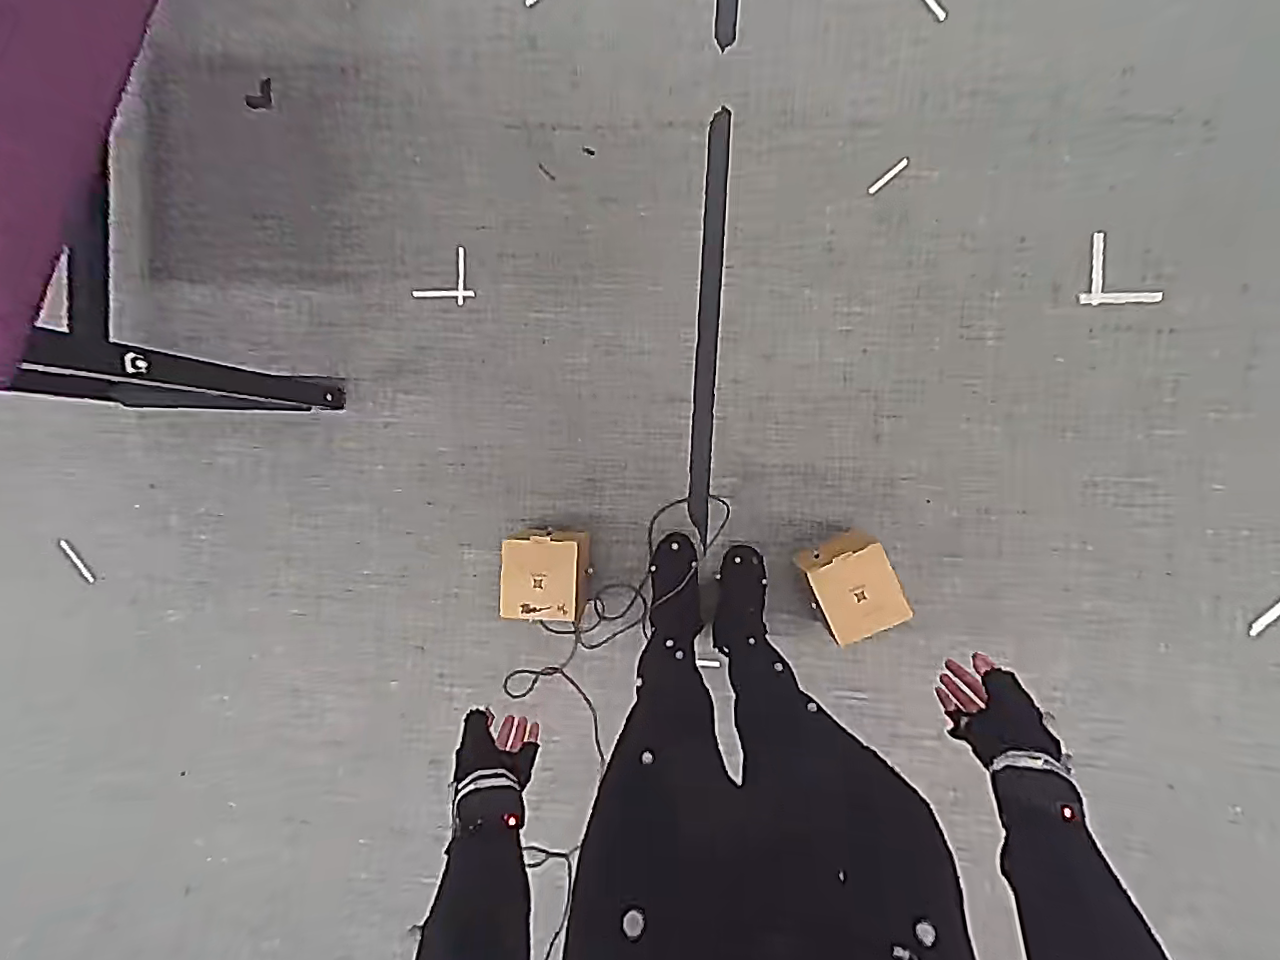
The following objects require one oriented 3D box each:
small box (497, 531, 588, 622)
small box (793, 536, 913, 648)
[{"bbox_3d":[-0.214,0.212,1.228,0.168,0.176,0.179,3,90,4],"label":"small box"},{"bbox_3d":[0.455,0.233,1.188,0.168,0.176,0.179,-25,91,6],"label":"small box"}]
